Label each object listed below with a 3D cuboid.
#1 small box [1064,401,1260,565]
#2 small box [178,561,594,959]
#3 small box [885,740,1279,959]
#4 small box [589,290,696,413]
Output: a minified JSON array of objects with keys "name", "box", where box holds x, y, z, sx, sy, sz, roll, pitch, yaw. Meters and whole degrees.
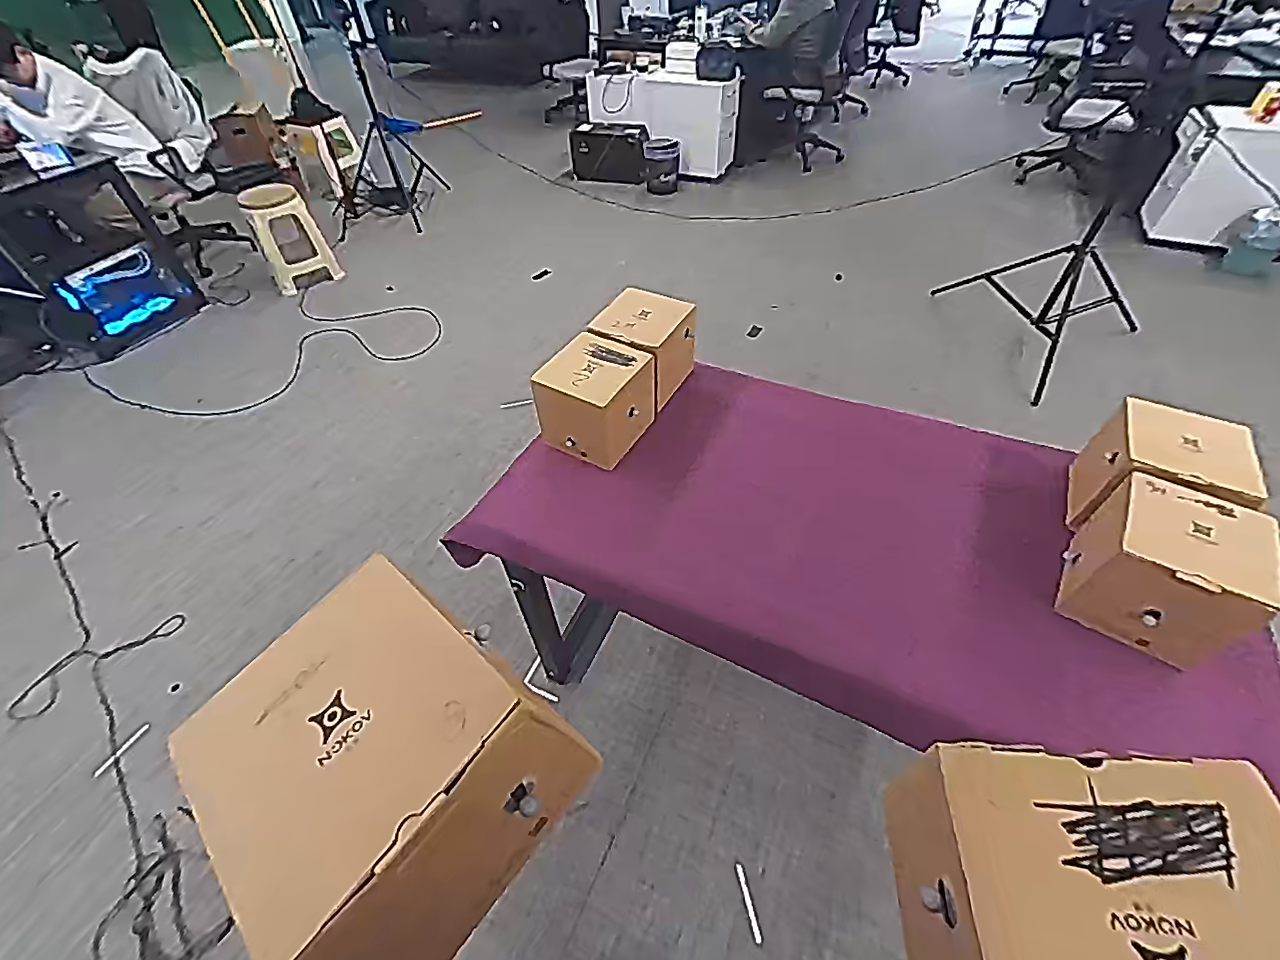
[{"name":"small box","box":[0.834,0.005,0.888,0.168,0.176,0.179,22,51,20]},{"name":"small box","box":[-0.159,0.196,0.385,0.179,0.176,0.168,28,64,33]},{"name":"small box","box":[0.261,0.275,0.326,0.168,0.176,0.179,-1,52,10]},{"name":"small box","box":[0.007,-0.278,1.170,0.168,0.176,0.179,22,53,21]}]
